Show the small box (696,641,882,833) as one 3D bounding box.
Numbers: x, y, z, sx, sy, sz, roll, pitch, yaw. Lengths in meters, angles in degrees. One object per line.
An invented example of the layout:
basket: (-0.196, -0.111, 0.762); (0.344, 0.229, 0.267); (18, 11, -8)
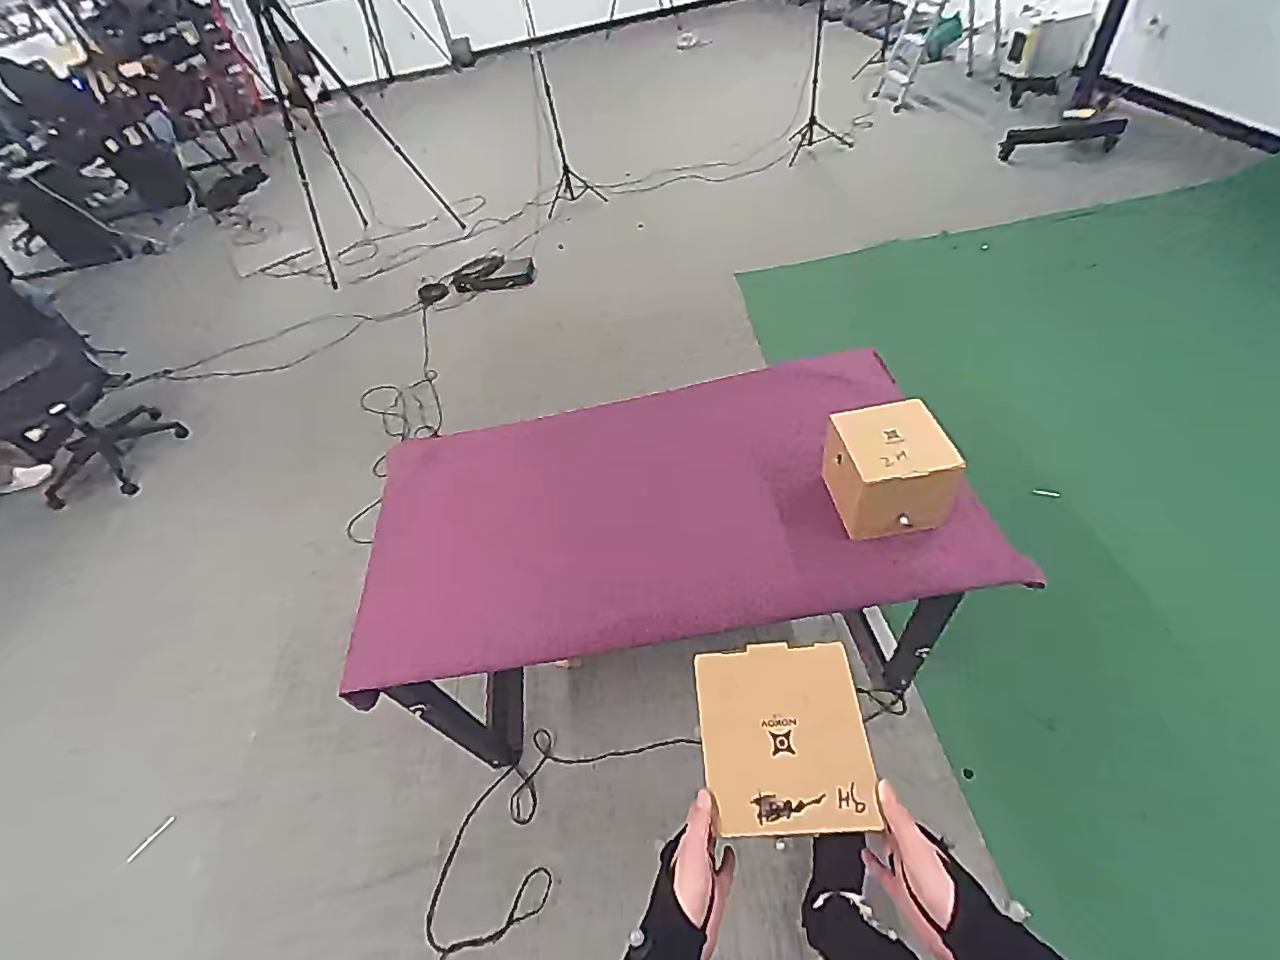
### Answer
small box: (0.158, 0.300, 0.623); (0.168, 0.176, 0.179); (-8, 57, 8)

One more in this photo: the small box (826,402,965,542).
small box: (0.450, -0.013, 0.988); (0.168, 0.176, 0.179); (-10, 47, 4)
